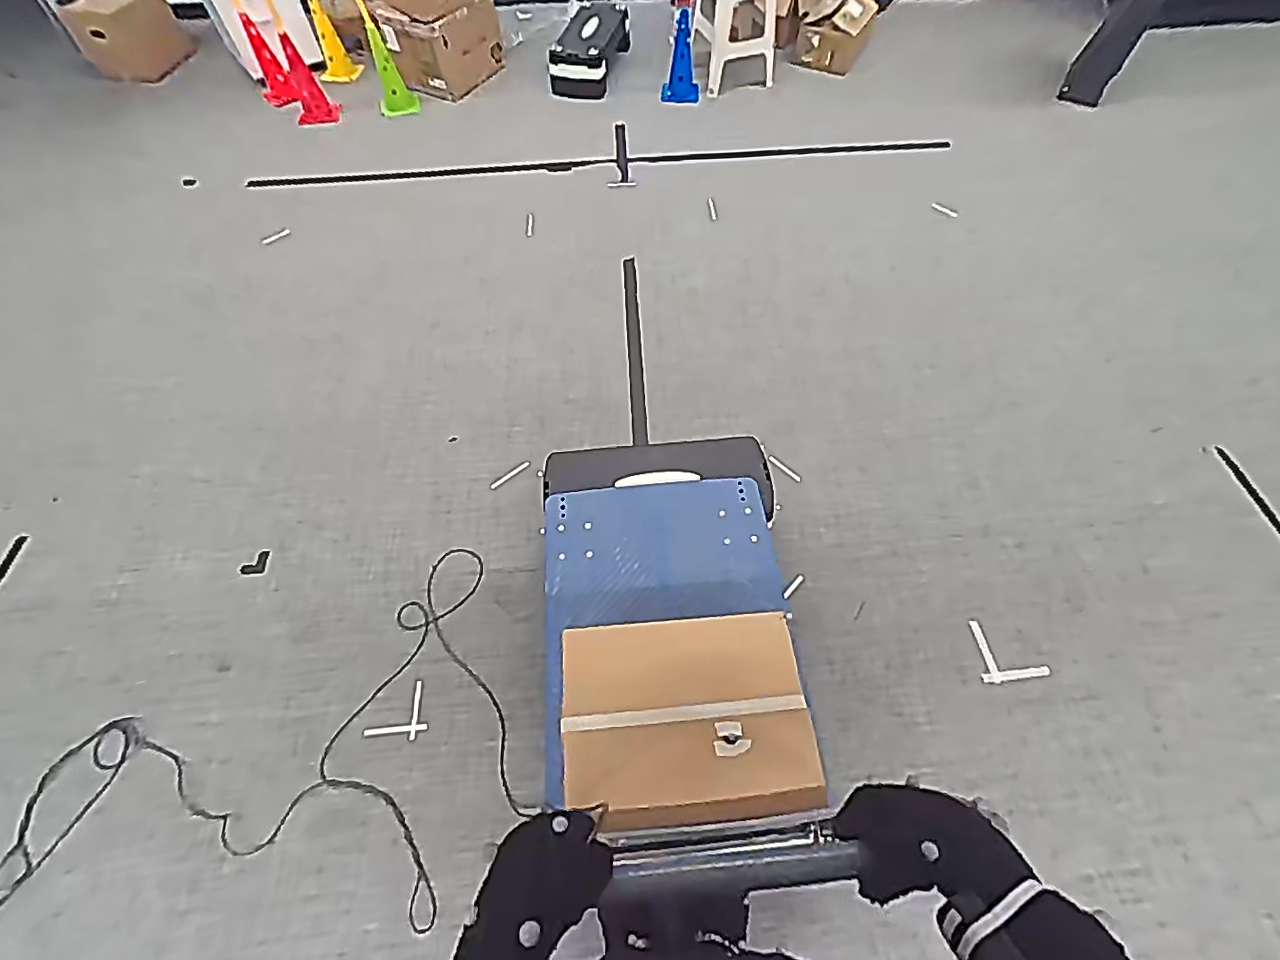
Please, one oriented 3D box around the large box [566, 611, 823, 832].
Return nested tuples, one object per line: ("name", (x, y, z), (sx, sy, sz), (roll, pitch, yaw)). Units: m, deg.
("large box", (0.075, 0.469, 1.040), (0.408, 0.320, 0.320), (-4, 58, -4))
